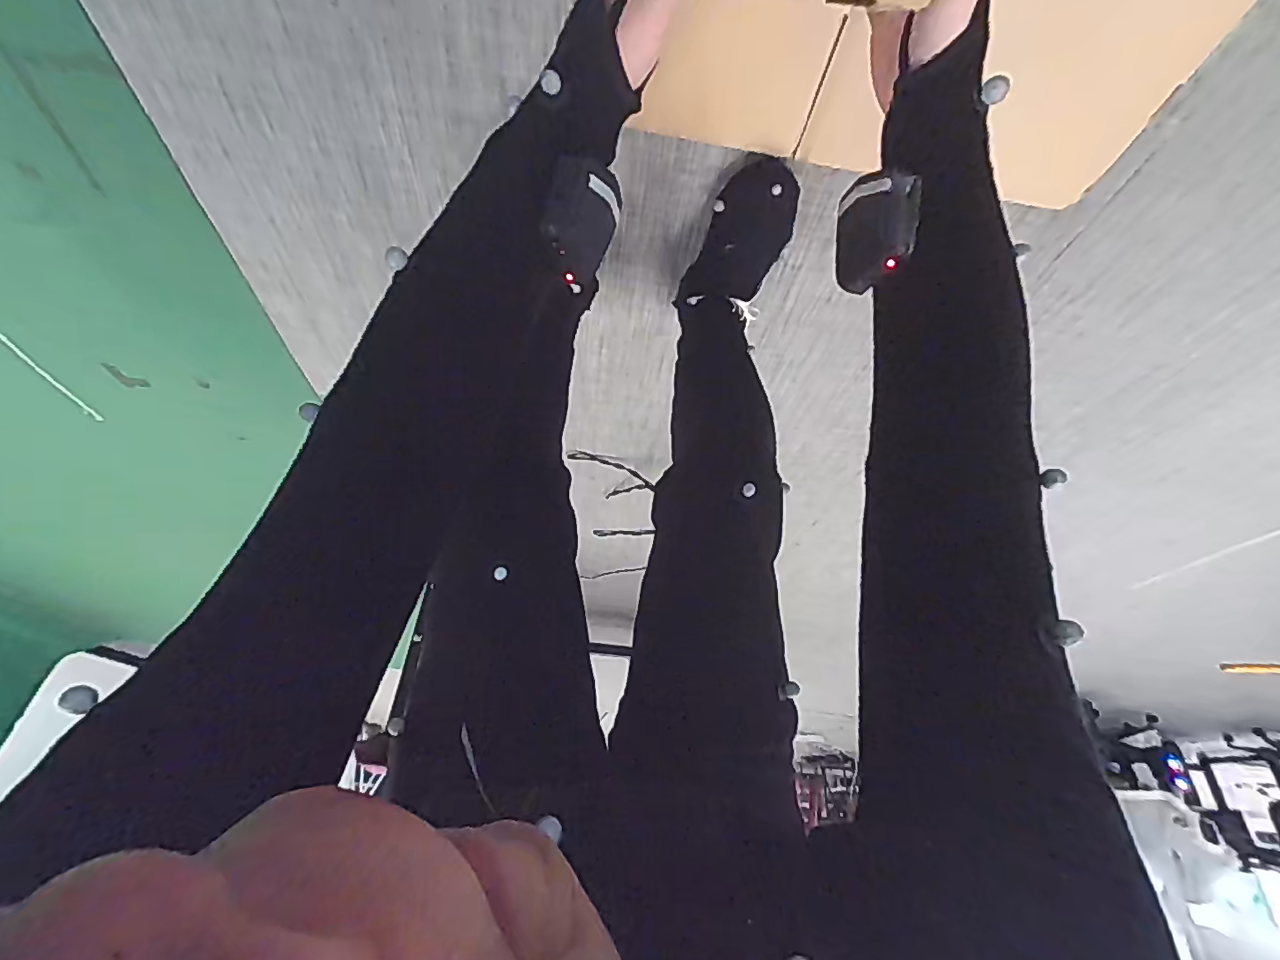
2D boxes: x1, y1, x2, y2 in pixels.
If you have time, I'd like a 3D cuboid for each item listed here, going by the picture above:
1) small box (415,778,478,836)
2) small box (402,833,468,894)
[{"bbox_3d":[-0.714,1.217,2.017,0.168,0.176,0.179,5,150,-2],"label":"small box"},{"bbox_3d":[-0.727,1.360,1.934,0.168,0.176,0.179,7,150,-3],"label":"small box"}]
